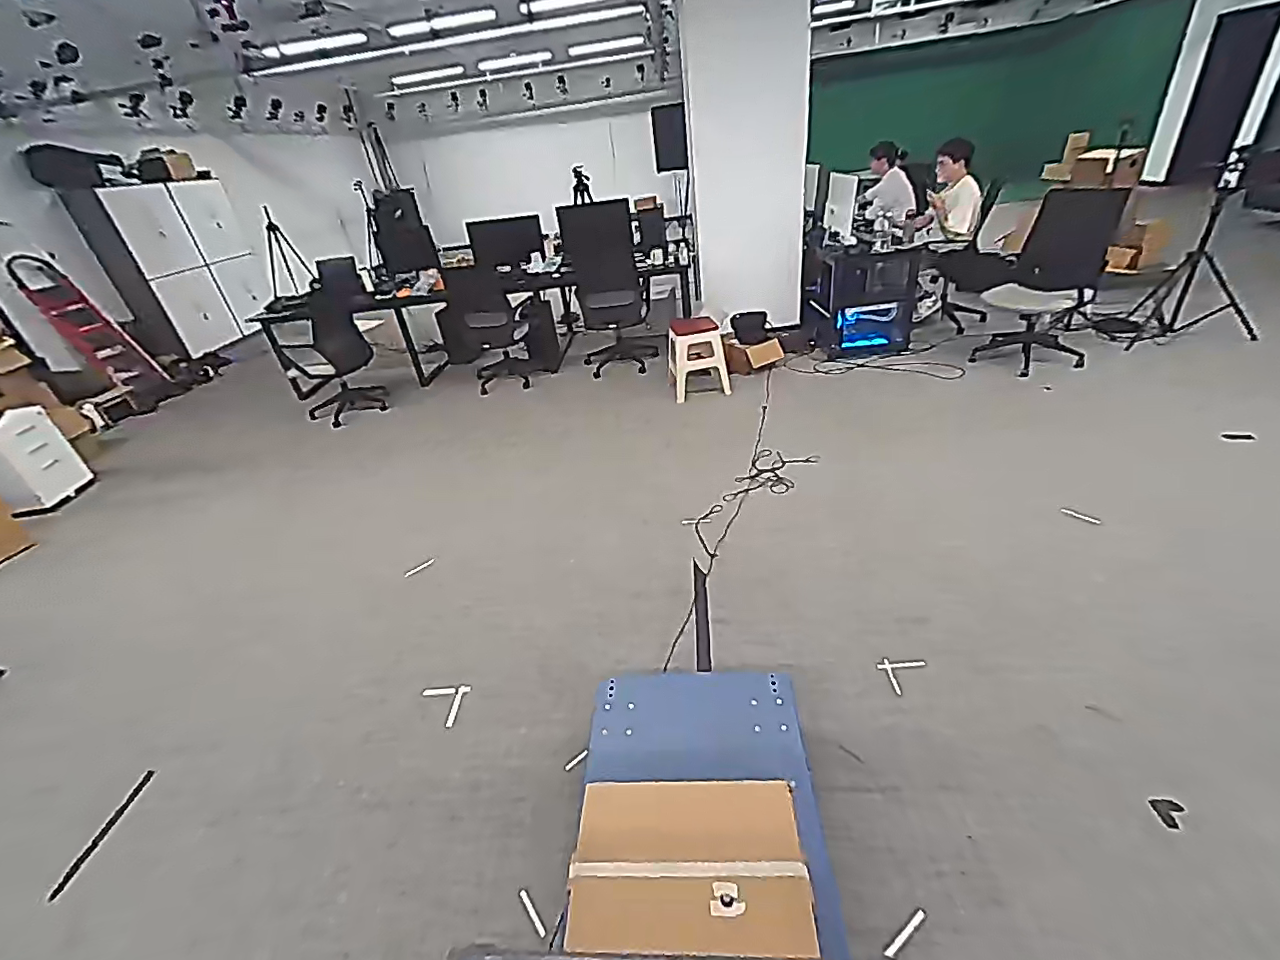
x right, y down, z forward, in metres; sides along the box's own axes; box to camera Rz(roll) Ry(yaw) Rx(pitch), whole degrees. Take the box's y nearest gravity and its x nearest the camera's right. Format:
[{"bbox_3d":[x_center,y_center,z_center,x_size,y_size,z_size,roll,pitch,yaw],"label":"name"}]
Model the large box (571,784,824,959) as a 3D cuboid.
[{"bbox_3d":[0.105,0.819,1.026,0.408,0.320,0.320,-4,32,6],"label":"large box"}]
